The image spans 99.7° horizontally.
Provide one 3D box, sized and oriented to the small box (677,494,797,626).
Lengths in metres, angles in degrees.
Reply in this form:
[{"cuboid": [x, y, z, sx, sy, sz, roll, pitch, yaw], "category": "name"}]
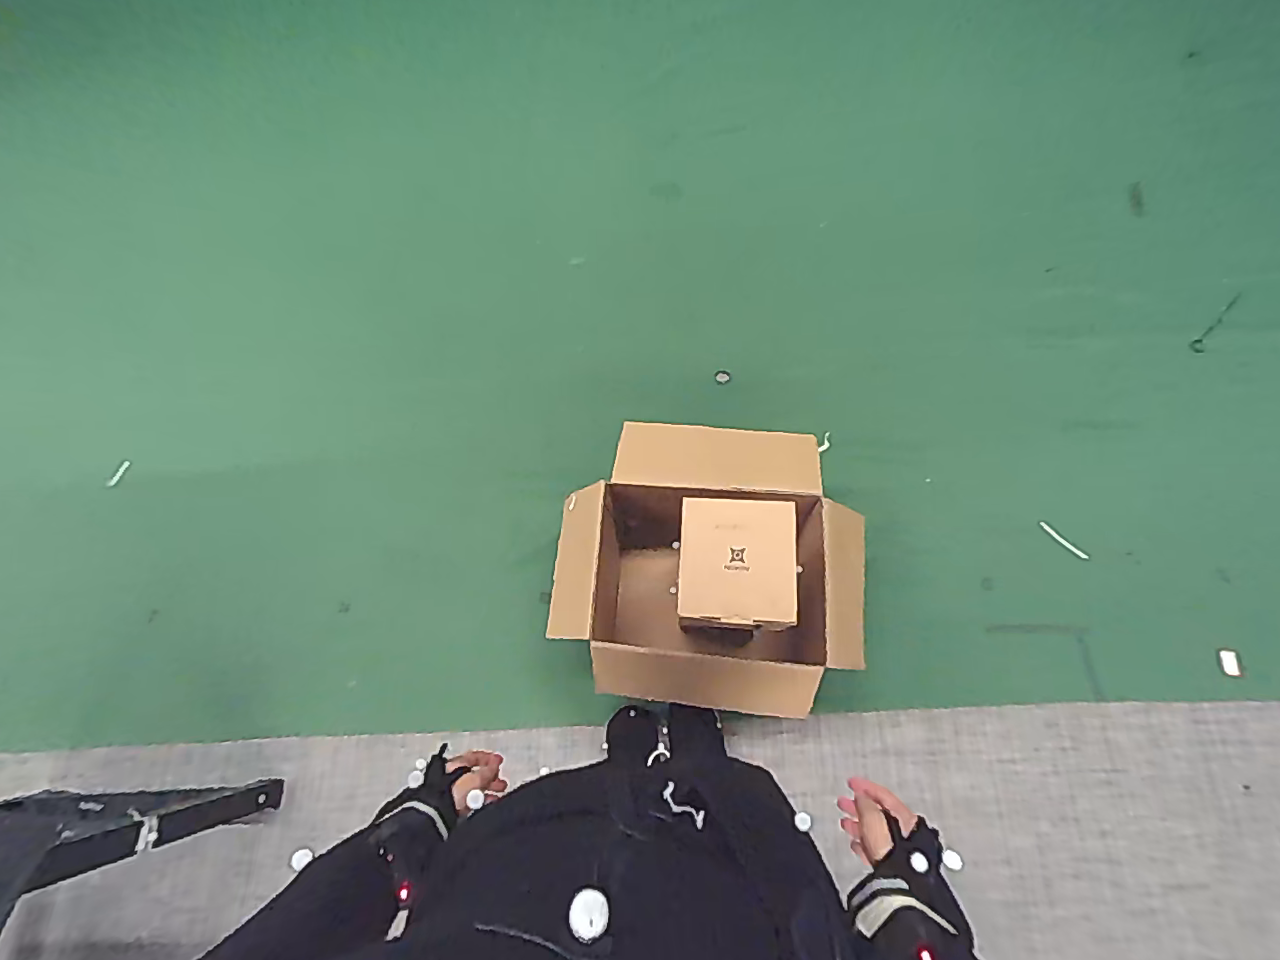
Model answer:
[{"cuboid": [0.146, 0.131, 0.839, 0.168, 0.176, 0.179, 2, 71, 5], "category": "small box"}]
